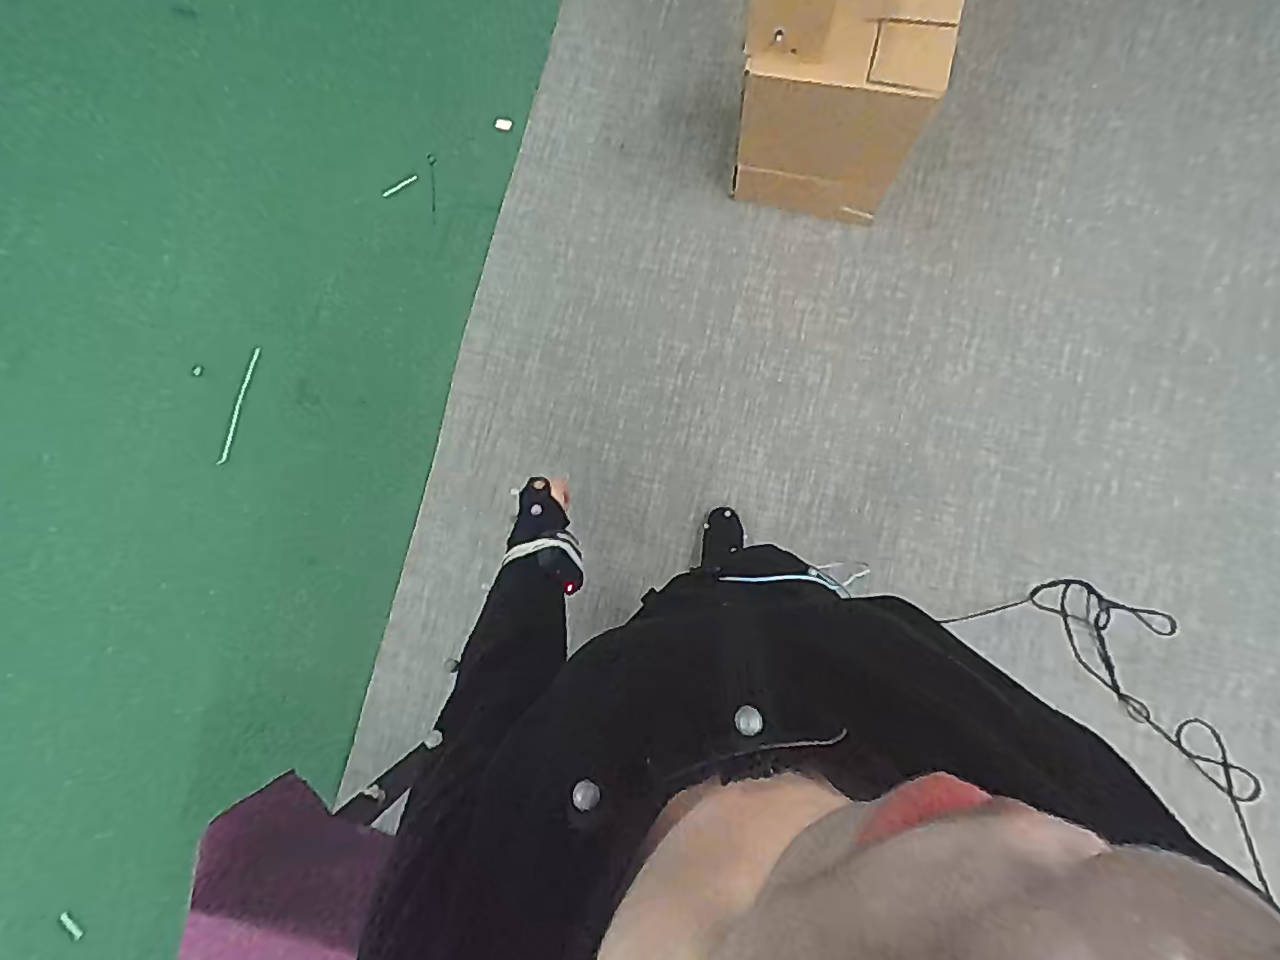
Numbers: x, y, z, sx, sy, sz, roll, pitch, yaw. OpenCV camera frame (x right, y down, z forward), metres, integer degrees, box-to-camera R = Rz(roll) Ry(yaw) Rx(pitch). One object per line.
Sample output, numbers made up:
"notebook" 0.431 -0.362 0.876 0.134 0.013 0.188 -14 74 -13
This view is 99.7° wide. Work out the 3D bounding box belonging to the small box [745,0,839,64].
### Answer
"small box" 0.306 -0.969 1.051 0.168 0.176 0.179 12 88 5
